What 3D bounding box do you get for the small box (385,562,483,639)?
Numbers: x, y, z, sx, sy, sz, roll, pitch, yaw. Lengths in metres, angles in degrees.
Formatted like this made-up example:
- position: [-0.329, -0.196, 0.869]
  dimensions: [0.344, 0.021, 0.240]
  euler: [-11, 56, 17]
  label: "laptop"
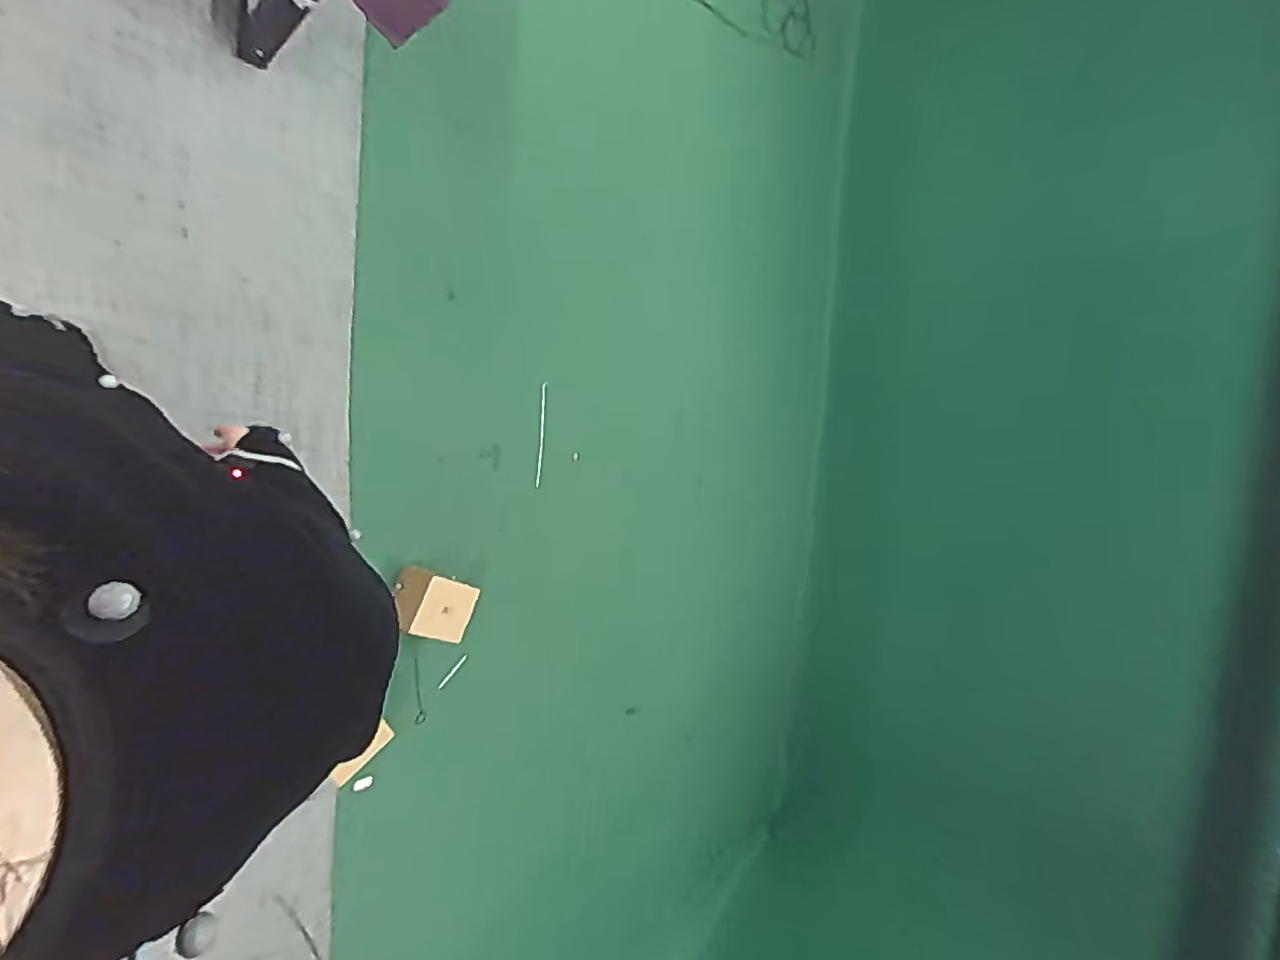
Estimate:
- position: [-0.609, 0.352, 1.597]
  dimensions: [0.179, 0.176, 0.168]
  euler: [36, 69, -47]
  label: "small box"
